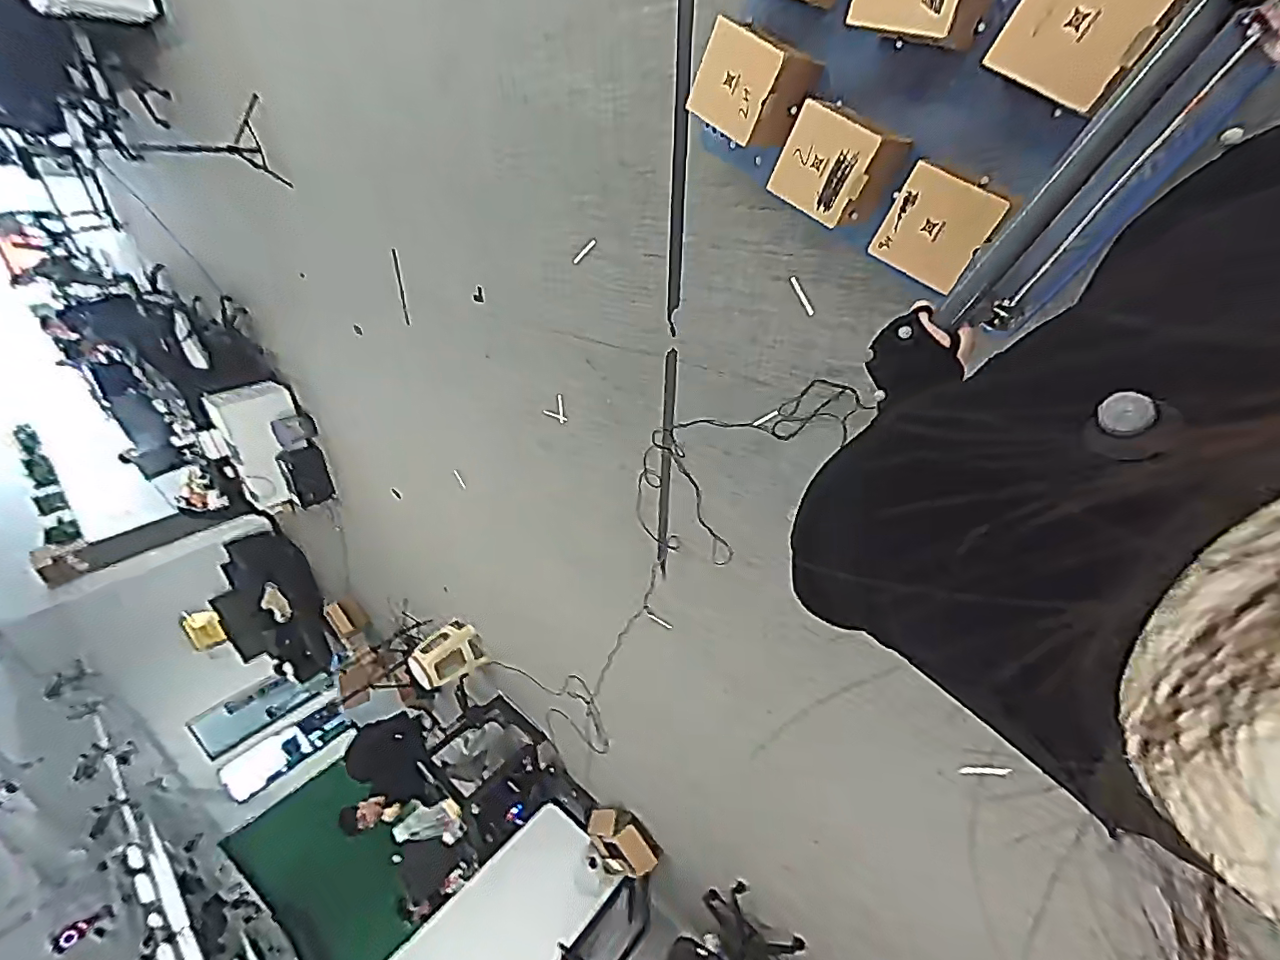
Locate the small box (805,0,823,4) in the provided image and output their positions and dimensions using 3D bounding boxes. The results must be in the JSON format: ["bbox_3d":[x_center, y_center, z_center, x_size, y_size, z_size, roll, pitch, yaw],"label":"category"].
[{"bbox_3d":[0.281,-0.998,0.978,0.179,0.176,0.168,41,136,19],"label":"small box"}]

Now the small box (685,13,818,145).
[{"bbox_3d":[0.233,-0.822,1.126,0.179,0.176,0.168,44,137,15],"label":"small box"}]

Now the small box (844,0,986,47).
[{"bbox_3d":[0.477,-0.832,0.886,0.179,0.176,0.168,35,133,26],"label":"small box"}]

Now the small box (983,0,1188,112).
[{"bbox_3d":[0.662,-0.674,0.801,0.179,0.176,0.168,44,136,17],"label":"small box"}]

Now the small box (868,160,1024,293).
[{"bbox_3d":[0.570,-0.476,1.005,0.179,0.176,0.168,40,135,19],"label":"small box"}]
